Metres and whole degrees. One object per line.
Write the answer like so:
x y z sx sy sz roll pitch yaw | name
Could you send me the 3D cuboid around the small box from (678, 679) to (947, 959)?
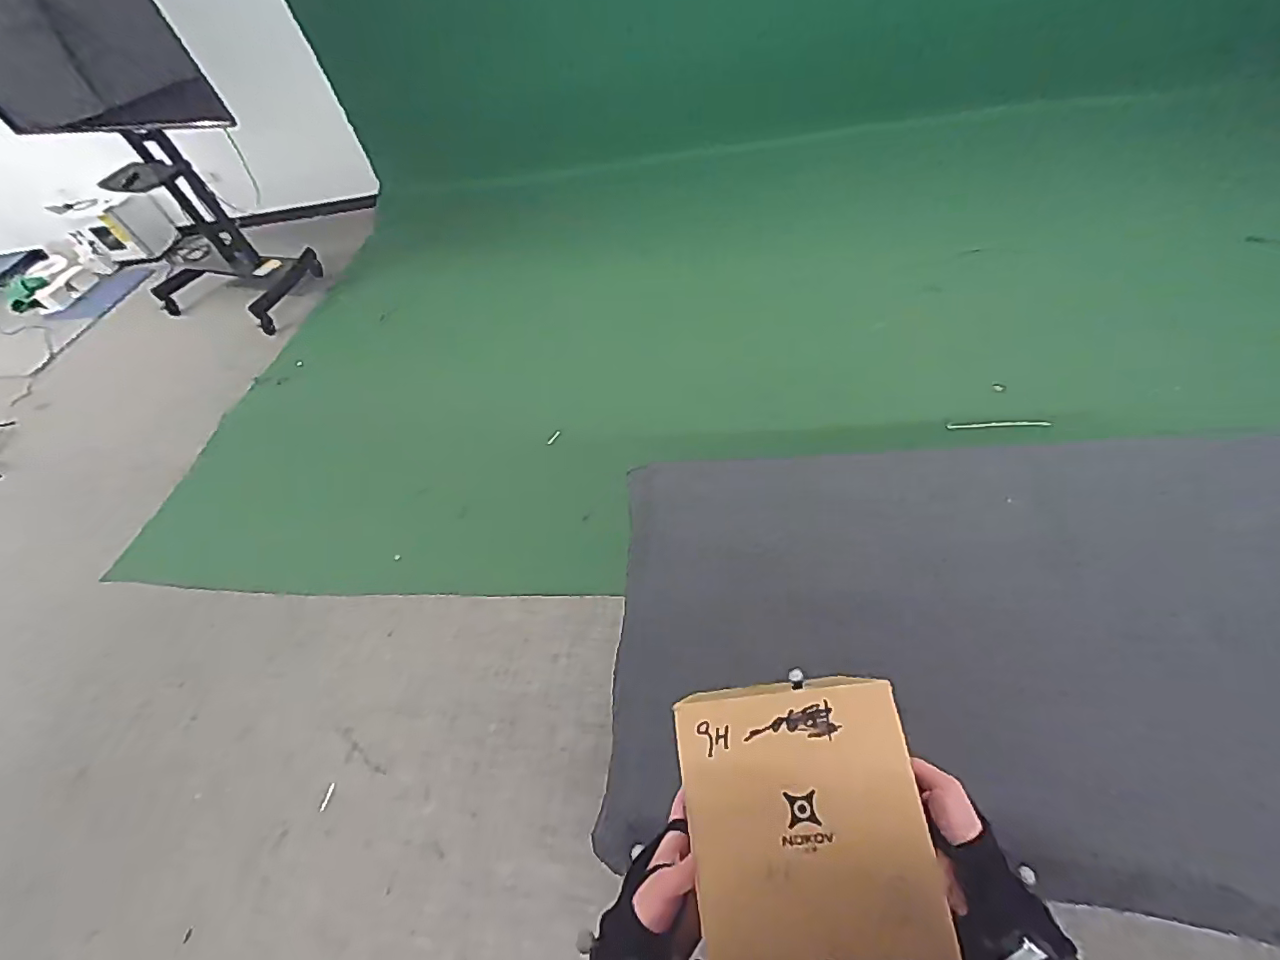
0.131 0.276 0.470 0.168 0.176 0.179 -9 71 7 | small box
